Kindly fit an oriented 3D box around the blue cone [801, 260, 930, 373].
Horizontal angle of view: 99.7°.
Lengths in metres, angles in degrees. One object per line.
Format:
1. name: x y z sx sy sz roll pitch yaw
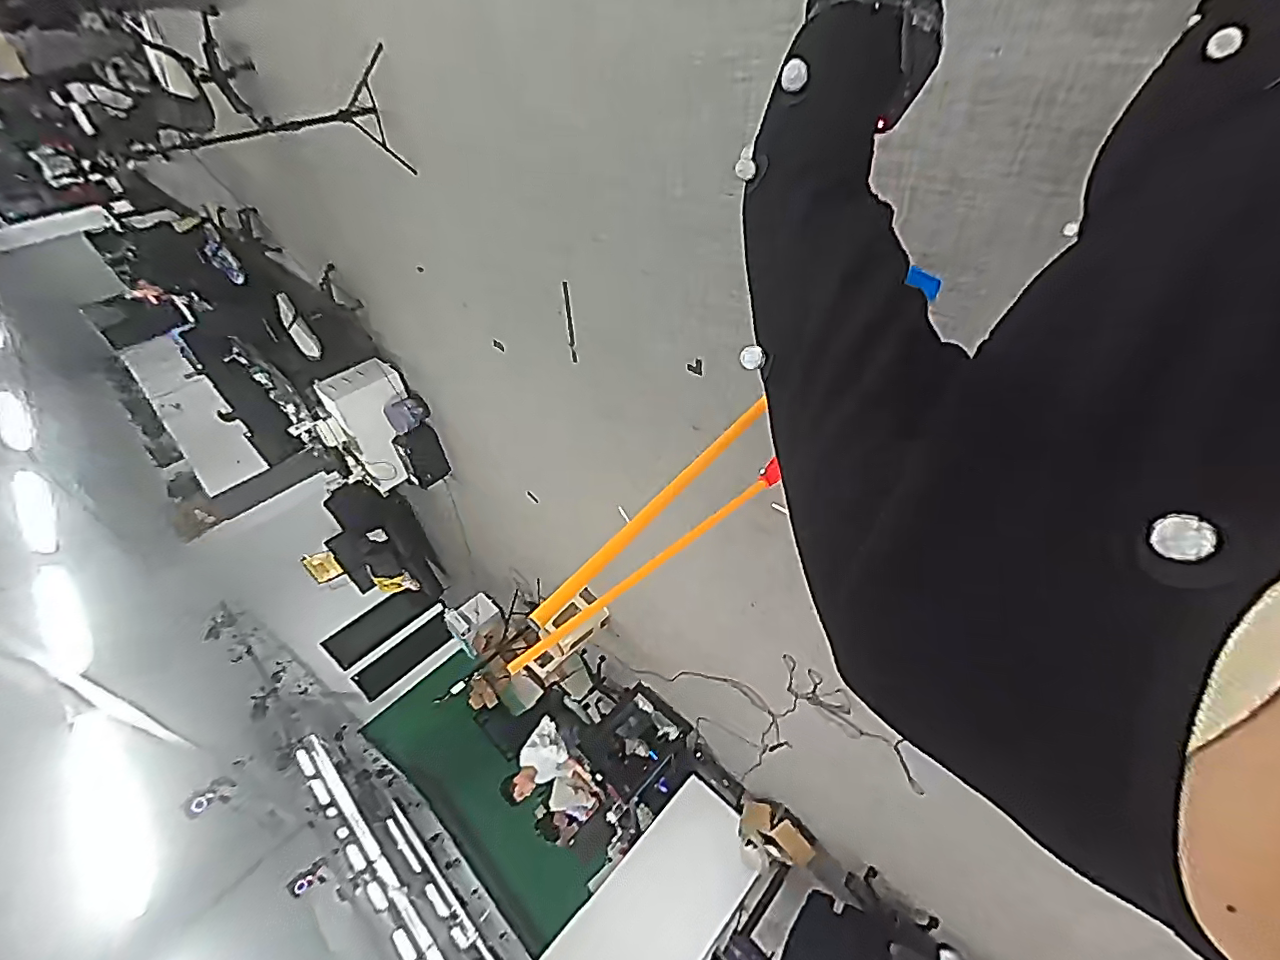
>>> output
1. blue cone: 0.503 -0.359 1.288 0.193 0.380 0.192 41 149 19
